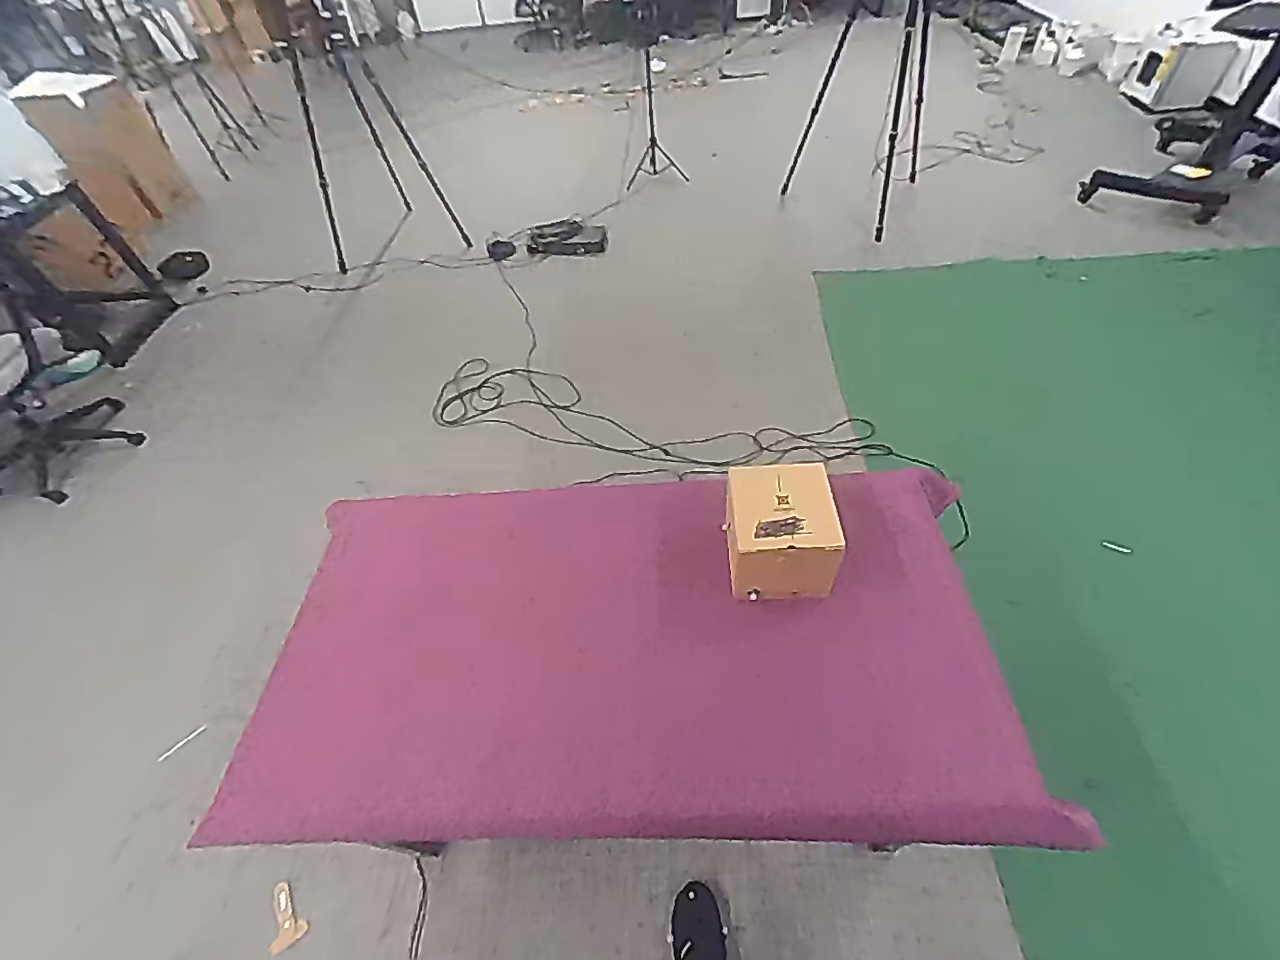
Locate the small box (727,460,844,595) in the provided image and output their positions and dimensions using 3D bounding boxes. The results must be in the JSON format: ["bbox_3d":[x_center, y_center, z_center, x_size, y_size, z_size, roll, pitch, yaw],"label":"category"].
[{"bbox_3d":[0.239,0.088,0.934,0.168,0.176,0.179,-3,49,5],"label":"small box"}]
